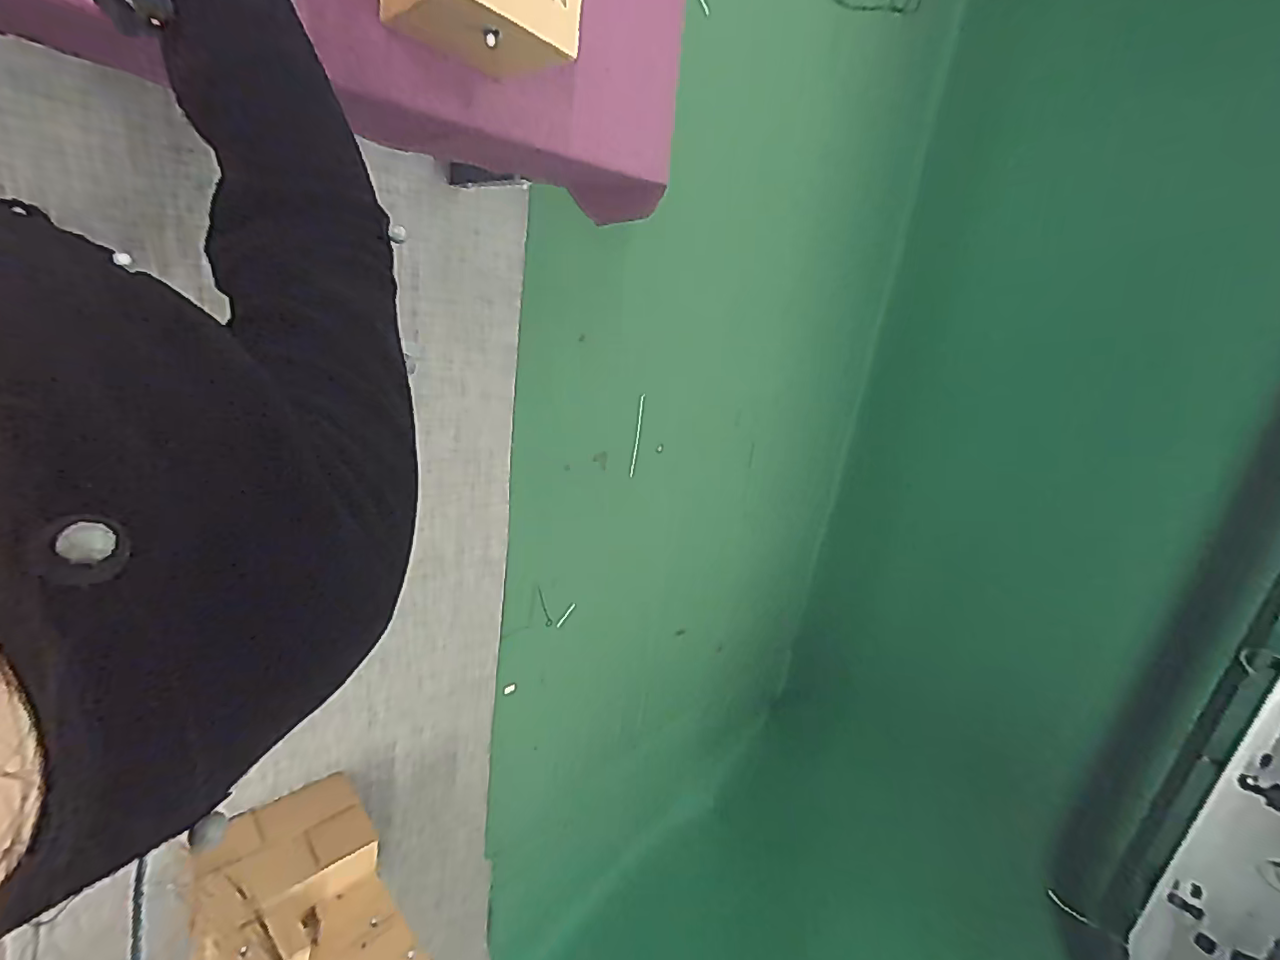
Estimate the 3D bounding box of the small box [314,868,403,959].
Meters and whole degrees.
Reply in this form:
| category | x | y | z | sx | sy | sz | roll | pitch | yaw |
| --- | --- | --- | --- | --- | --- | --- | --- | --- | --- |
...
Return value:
| category | x | y | z | sx | sy | sz | roll | pitch | yaw |
| --- | --- | --- | --- | --- | --- | --- | --- | --- | --- |
| small box | -0.796 | 1.257 | 1.521 | 0.168 | 0.176 | 0.179 | -4 | 113 | -50 |

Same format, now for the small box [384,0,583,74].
| category | x | y | z | sx | sy | sz | roll | pitch | yaw |
| --- | --- | --- | --- | --- | --- | --- | --- | --- | --- |
| small box | -0.183 | -0.613 | 0.636 | 0.179 | 0.176 | 0.168 | -10 | 116 | -47 |

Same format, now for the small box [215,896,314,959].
| category | x | y | z | sx | sy | sz | roll | pitch | yaw |
| --- | --- | --- | --- | --- | --- | --- | --- | --- | --- |
| small box | -0.924 | 1.175 | 1.325 | 0.168 | 0.176 | 0.179 | -1 | 111 | -48 |
